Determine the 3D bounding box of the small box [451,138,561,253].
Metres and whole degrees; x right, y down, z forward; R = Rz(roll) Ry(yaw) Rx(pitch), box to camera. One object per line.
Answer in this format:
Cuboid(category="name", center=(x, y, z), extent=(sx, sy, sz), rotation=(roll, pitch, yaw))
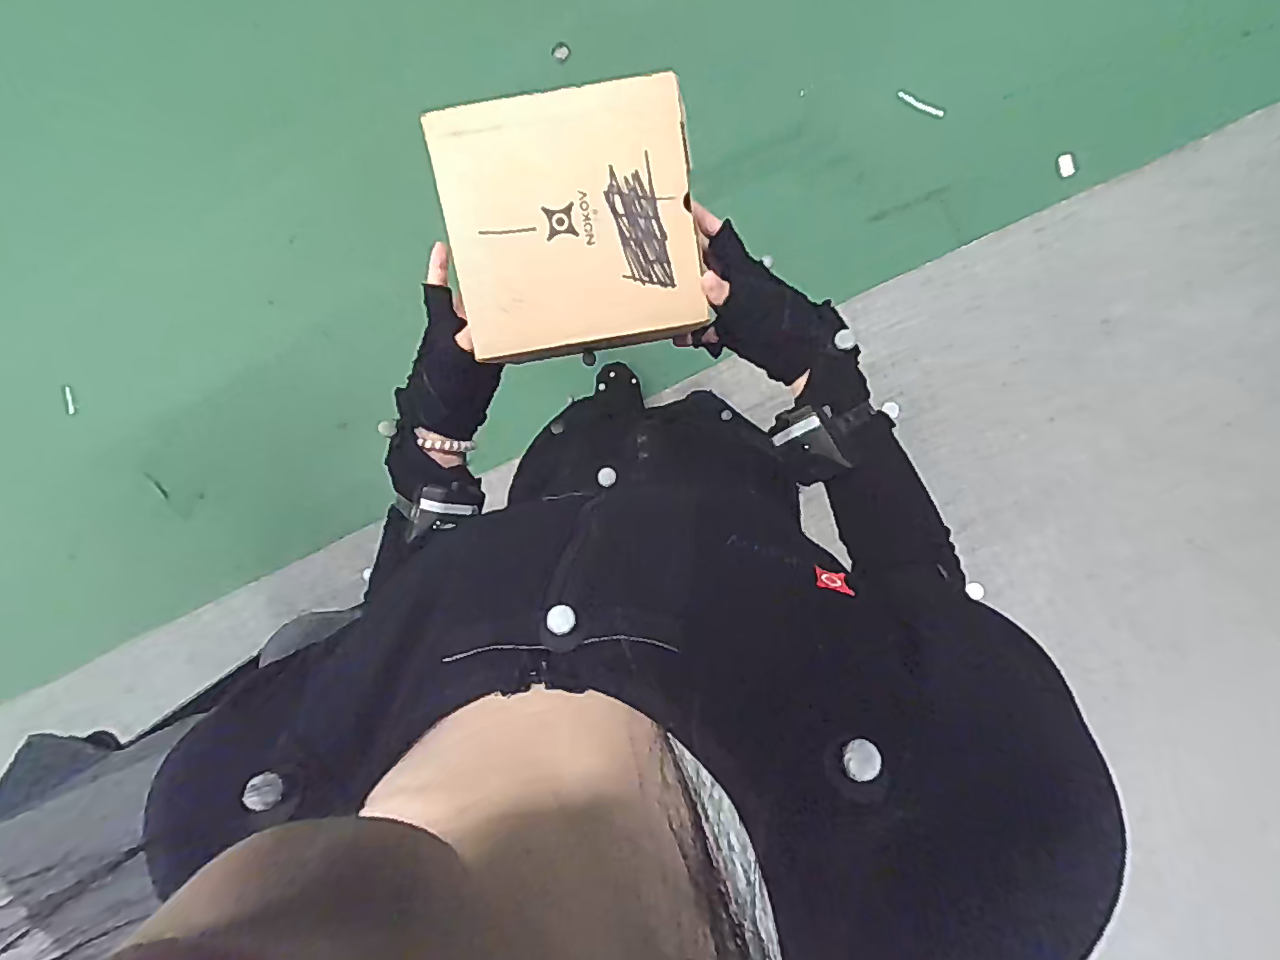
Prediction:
Cuboid(category="small box", center=(-0.308, -0.661, 1.285), extent=(0.168, 0.176, 0.179), rotation=(-25, 101, 9))
